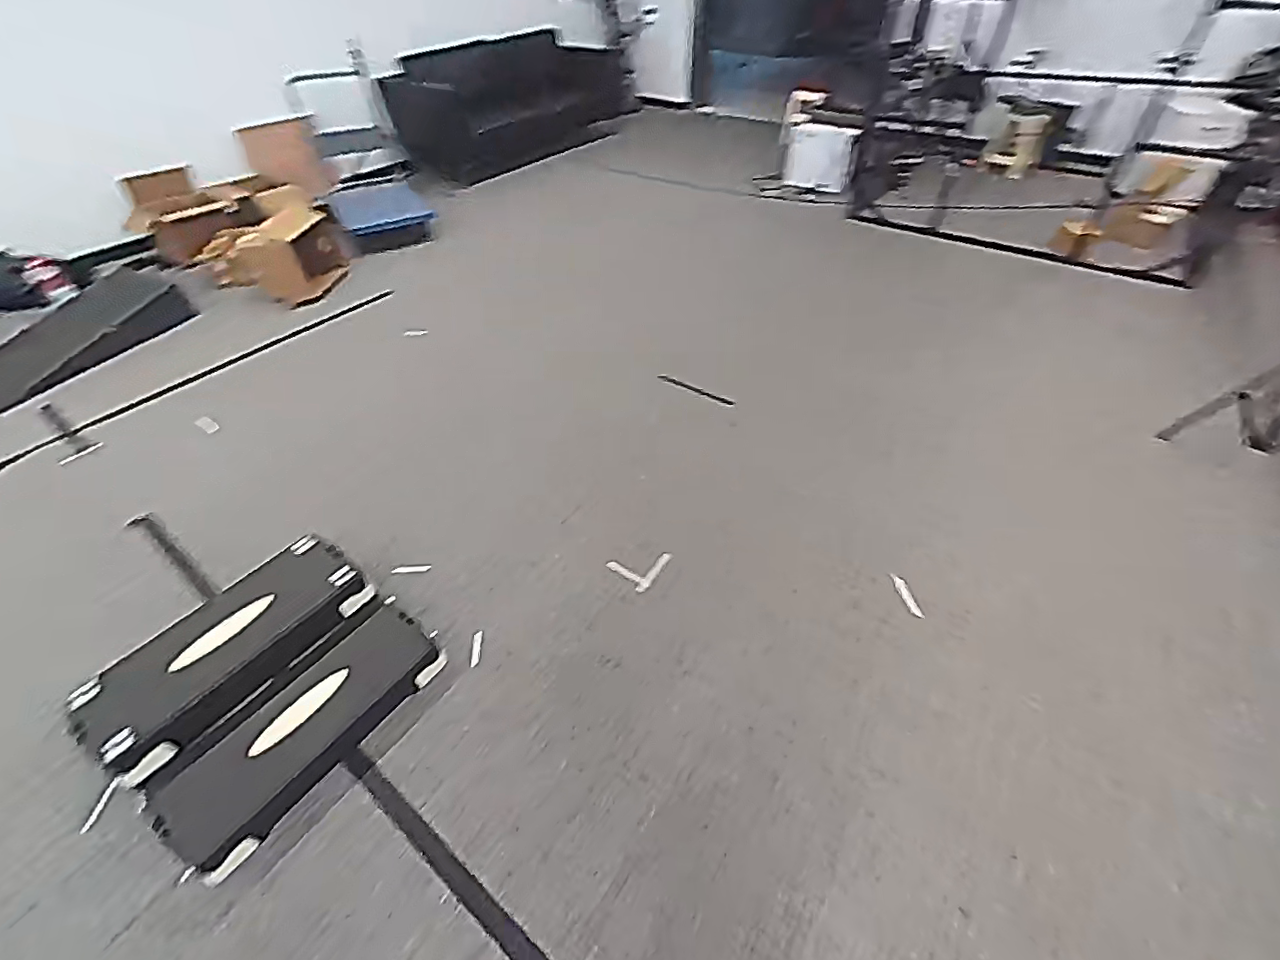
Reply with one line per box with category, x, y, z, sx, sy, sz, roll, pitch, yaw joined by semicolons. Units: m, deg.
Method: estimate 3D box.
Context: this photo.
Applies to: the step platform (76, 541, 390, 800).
step platform;-1.060;0.476;1.470;0.286;0.204;0.684;27;51;25
